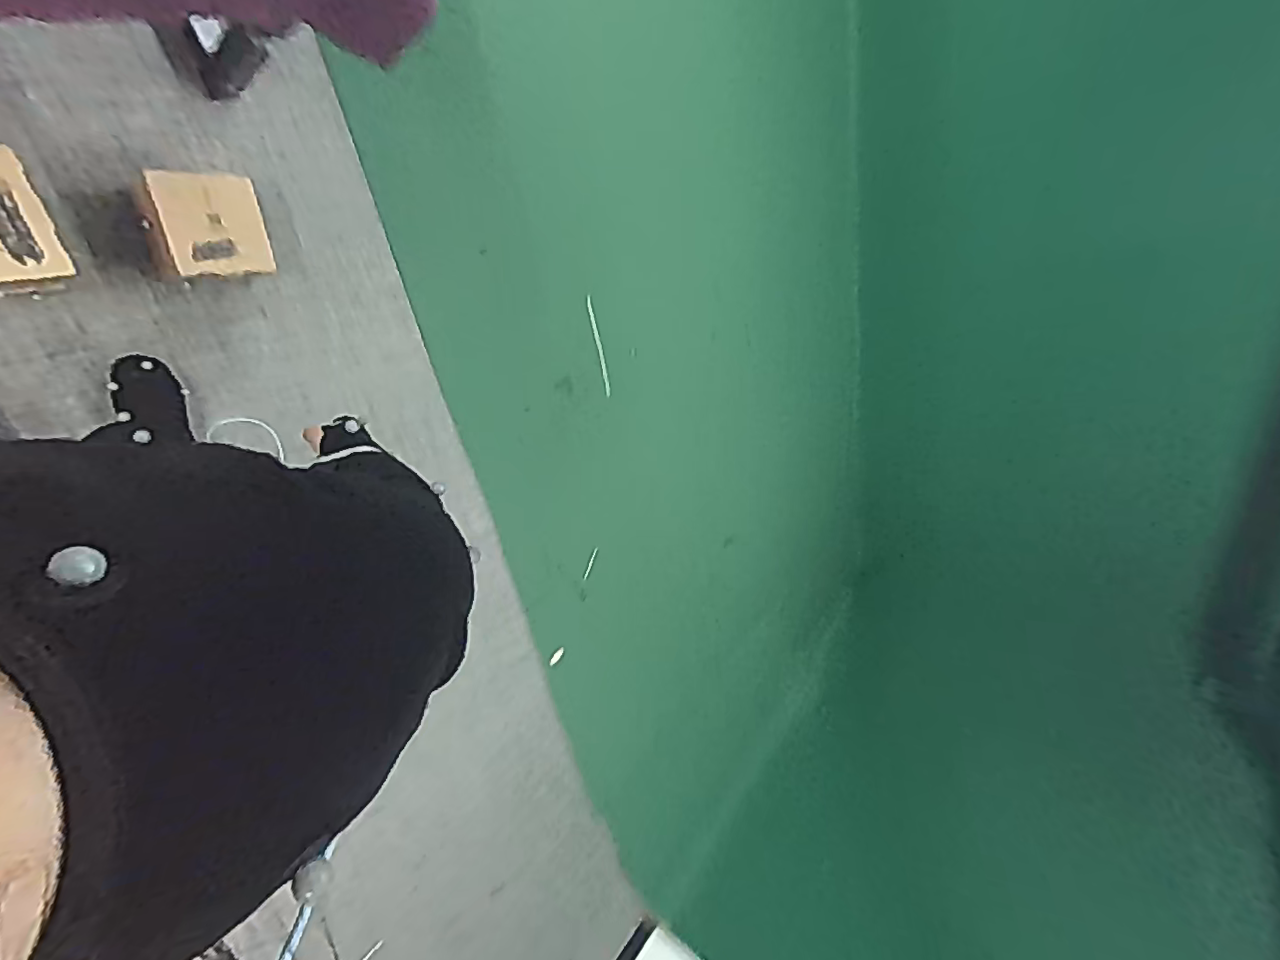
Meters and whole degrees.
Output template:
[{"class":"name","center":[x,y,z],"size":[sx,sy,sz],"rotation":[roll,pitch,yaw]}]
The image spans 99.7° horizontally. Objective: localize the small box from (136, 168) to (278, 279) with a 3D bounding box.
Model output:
[{"class":"small box","center":[-0.863,-0.501,1.080],"size":[0.168,0.176,0.179],"rotation":[-26,116,-43]}]
